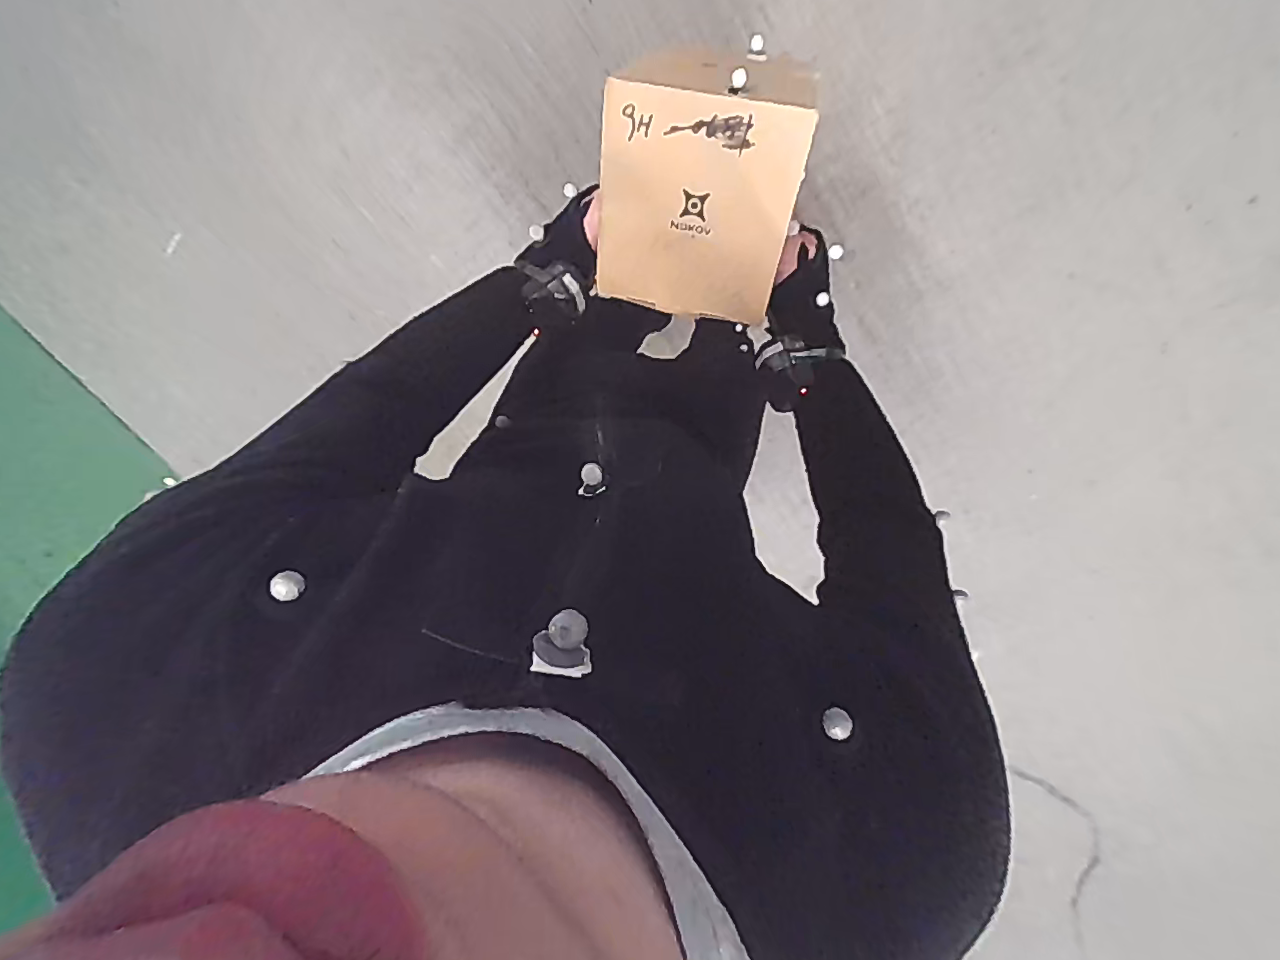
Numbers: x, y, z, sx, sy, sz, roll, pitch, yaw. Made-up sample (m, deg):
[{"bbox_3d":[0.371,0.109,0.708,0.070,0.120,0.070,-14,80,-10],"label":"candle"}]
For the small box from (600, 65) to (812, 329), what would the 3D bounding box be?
[{"bbox_3d":[0.064,-0.276,0.525,0.168,0.176,0.179,12,134,7],"label":"small box"}]
